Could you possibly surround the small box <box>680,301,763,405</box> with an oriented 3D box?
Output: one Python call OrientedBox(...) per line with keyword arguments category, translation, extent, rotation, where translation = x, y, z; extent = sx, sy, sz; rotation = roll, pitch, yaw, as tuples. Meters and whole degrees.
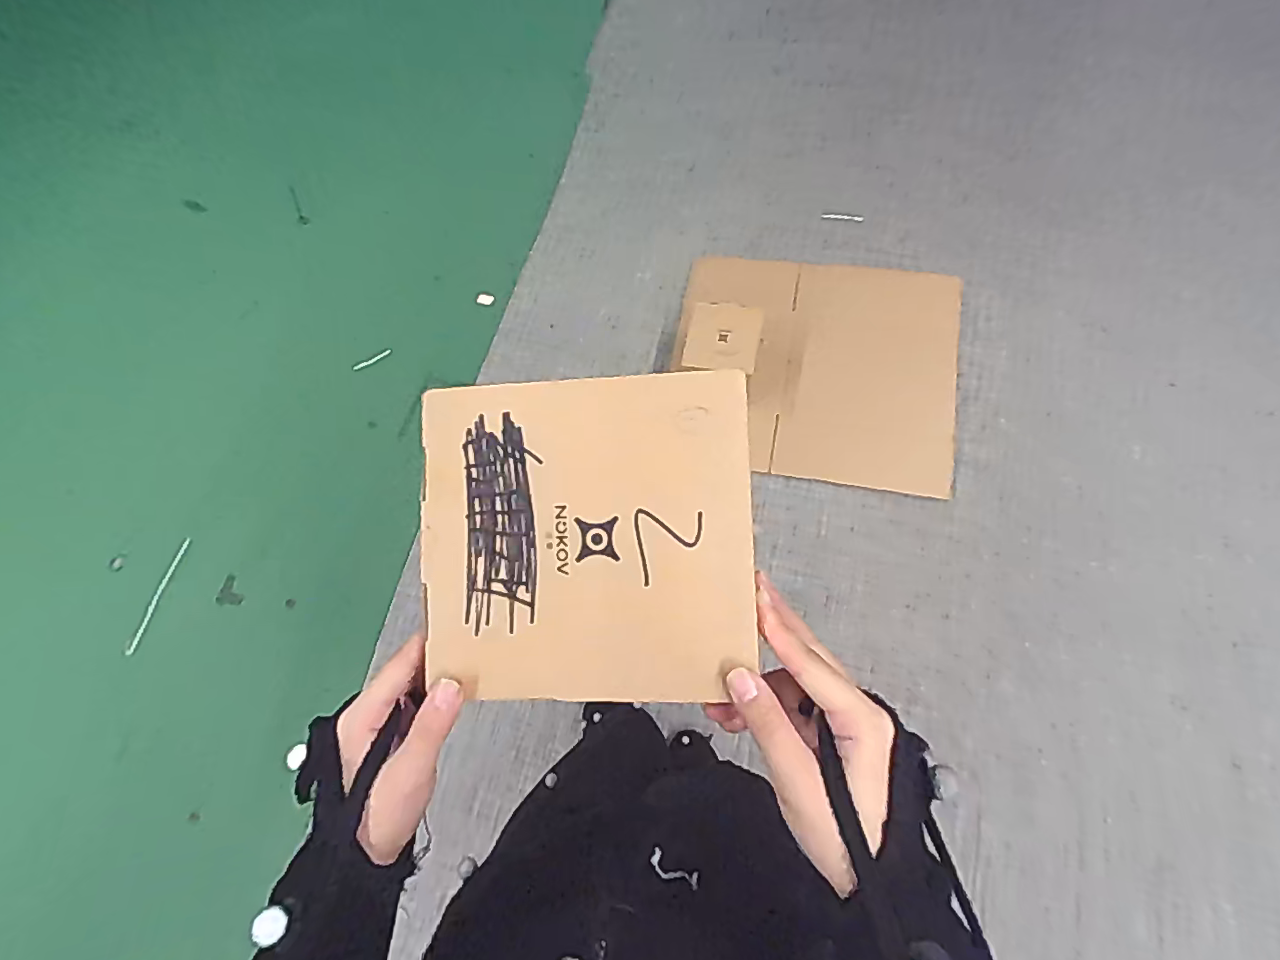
OrientedBox(category="small box", translation=(0.199, -0.304, 1.311), extent=(0.168, 0.176, 0.179), rotation=(9, 74, 12))
